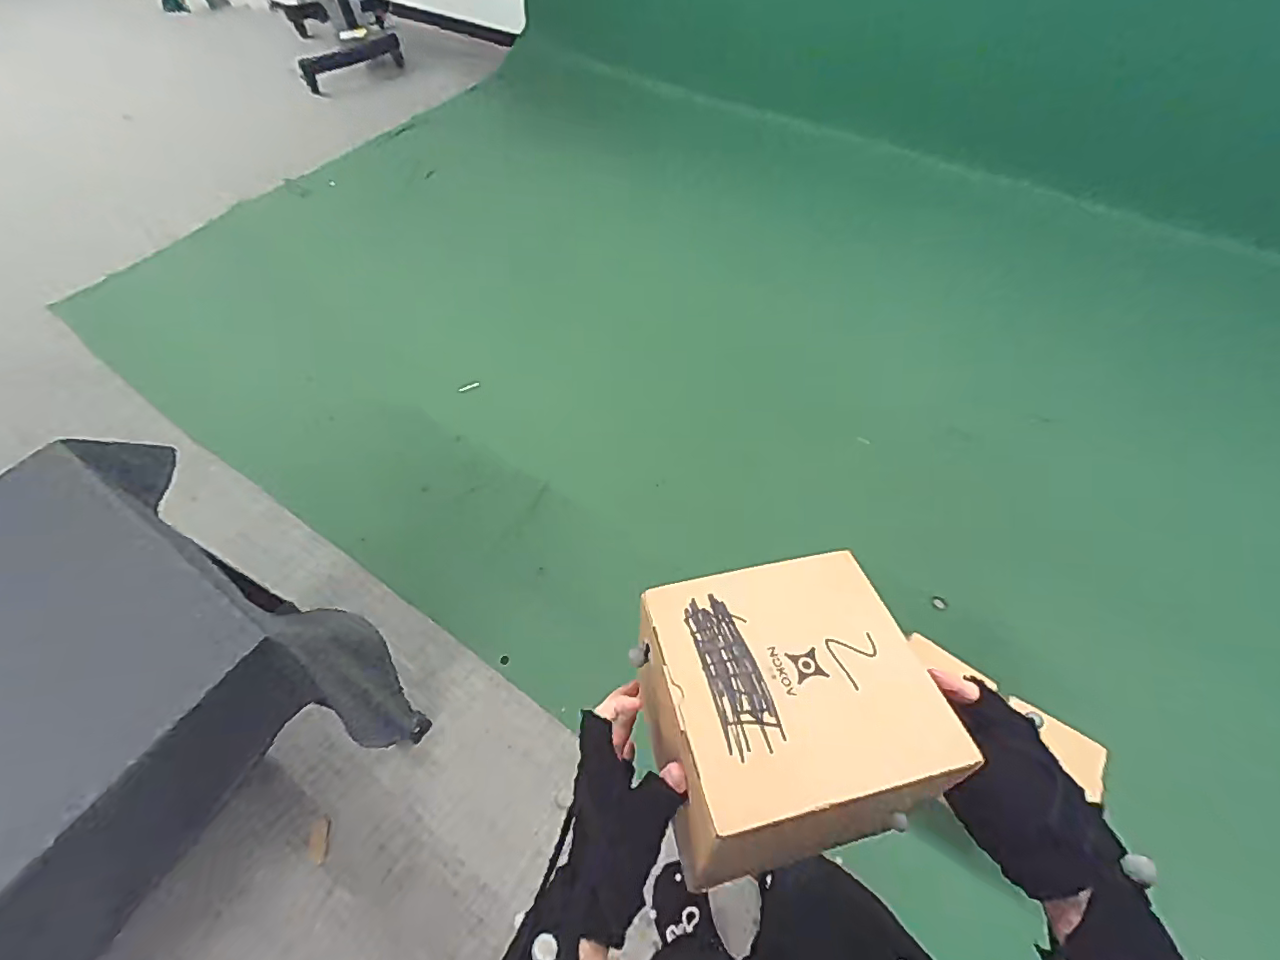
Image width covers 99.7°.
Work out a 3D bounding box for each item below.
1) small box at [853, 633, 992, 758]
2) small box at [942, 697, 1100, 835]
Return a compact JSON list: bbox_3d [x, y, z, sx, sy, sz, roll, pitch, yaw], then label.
[{"bbox_3d":[0.586,0.459,1.140,0.179,0.176,0.168,35,65,22],"label":"small box"},{"bbox_3d":[0.745,0.562,1.070,0.179,0.176,0.168,31,63,17],"label":"small box"}]
